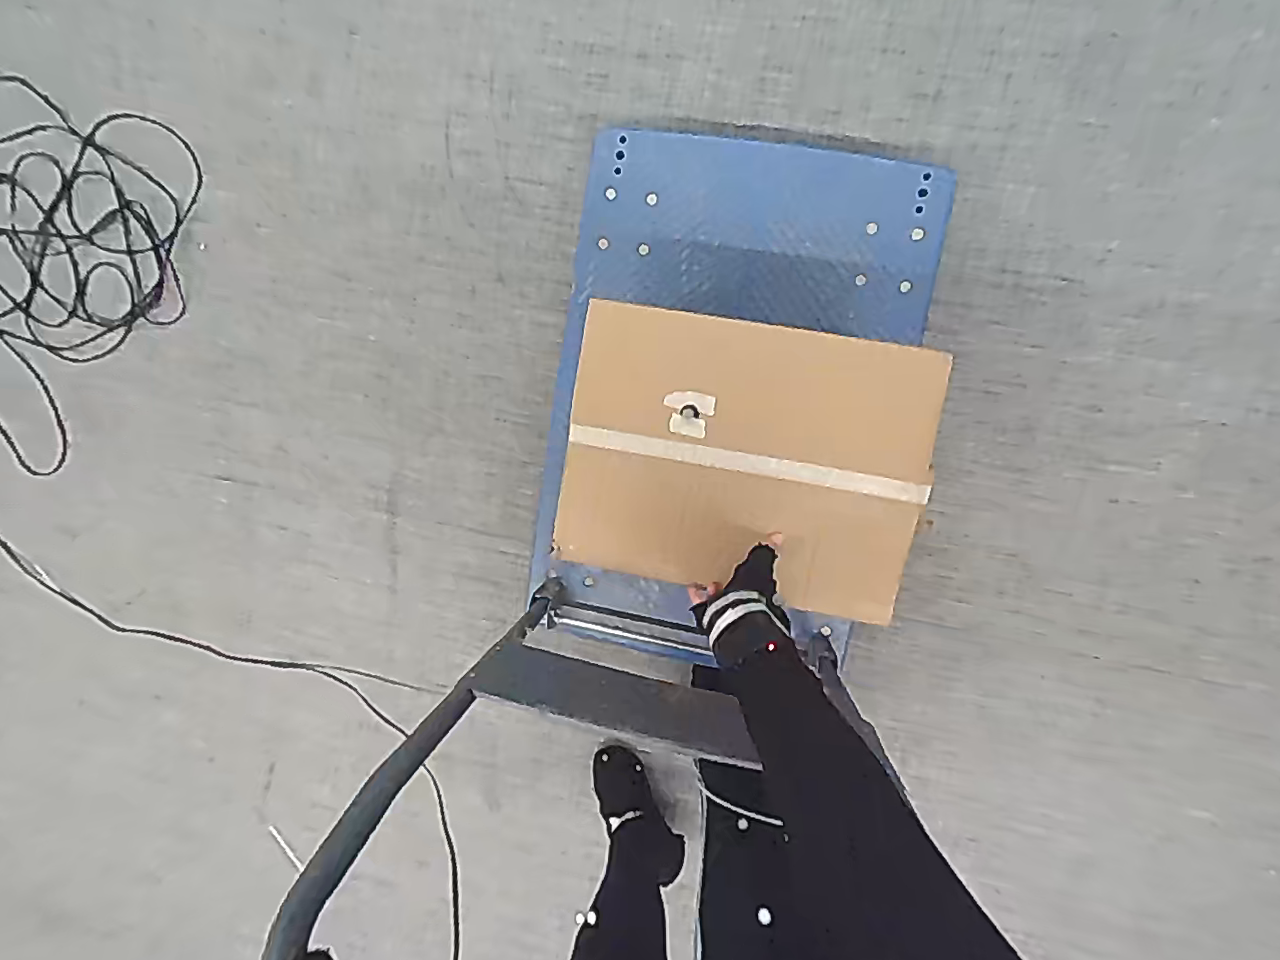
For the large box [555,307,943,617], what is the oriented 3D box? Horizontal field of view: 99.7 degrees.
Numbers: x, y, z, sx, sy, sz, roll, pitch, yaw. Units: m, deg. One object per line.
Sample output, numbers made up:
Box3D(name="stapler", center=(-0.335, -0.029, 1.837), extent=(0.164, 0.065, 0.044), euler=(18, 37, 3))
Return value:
Box3D(name="large box", center=(0.133, -0.039, 0.766), extent=(0.408, 0.320, 0.320), euler=(10, 98, 7))
